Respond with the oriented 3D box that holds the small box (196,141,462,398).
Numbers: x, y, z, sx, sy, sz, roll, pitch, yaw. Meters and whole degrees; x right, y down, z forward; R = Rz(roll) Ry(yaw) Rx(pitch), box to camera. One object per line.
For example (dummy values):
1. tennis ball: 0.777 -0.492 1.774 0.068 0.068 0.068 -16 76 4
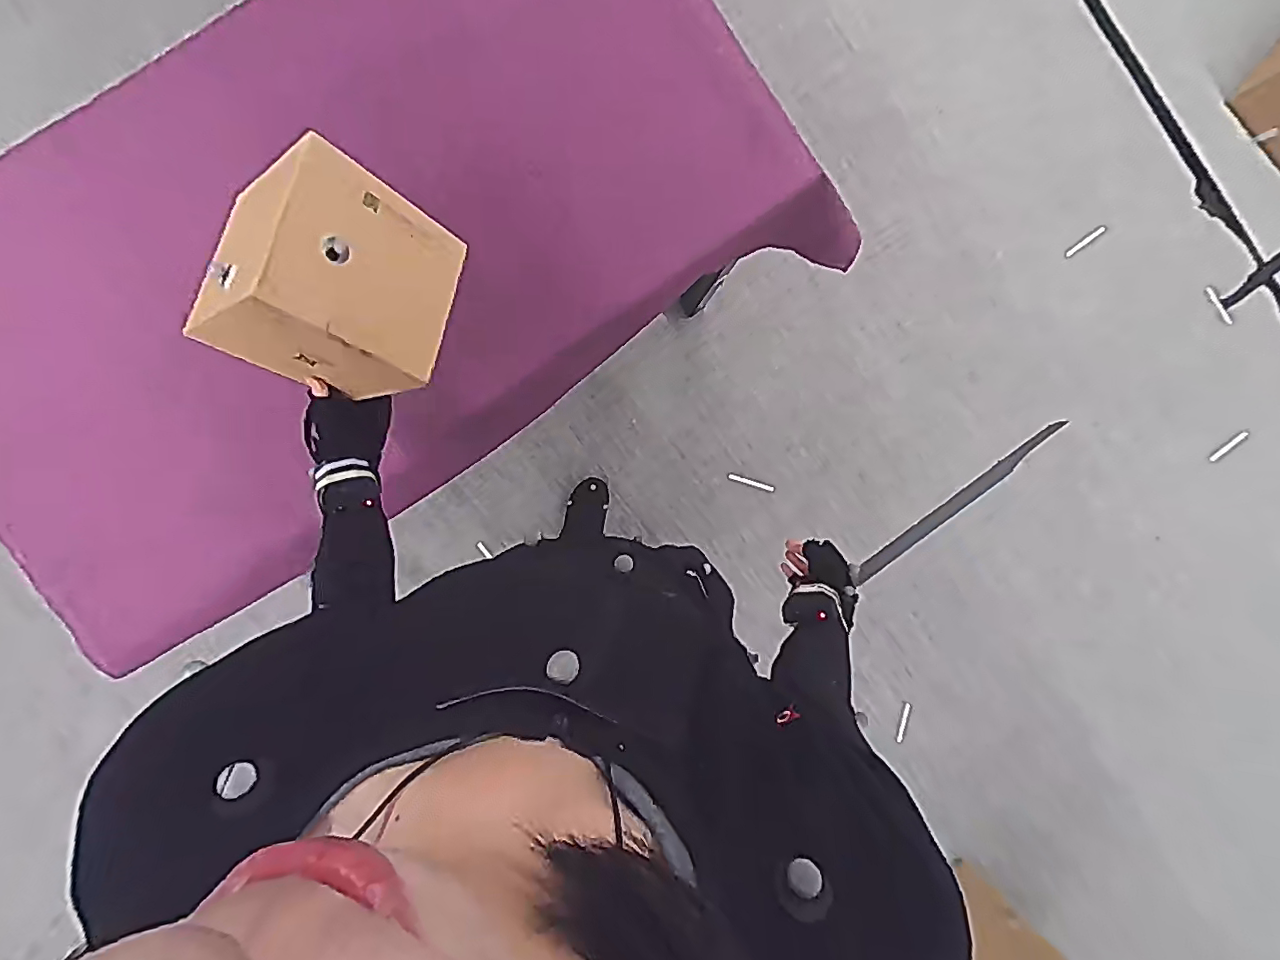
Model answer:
1. small box: -0.305 -0.198 0.551 0.168 0.179 0.176 27 71 -47
